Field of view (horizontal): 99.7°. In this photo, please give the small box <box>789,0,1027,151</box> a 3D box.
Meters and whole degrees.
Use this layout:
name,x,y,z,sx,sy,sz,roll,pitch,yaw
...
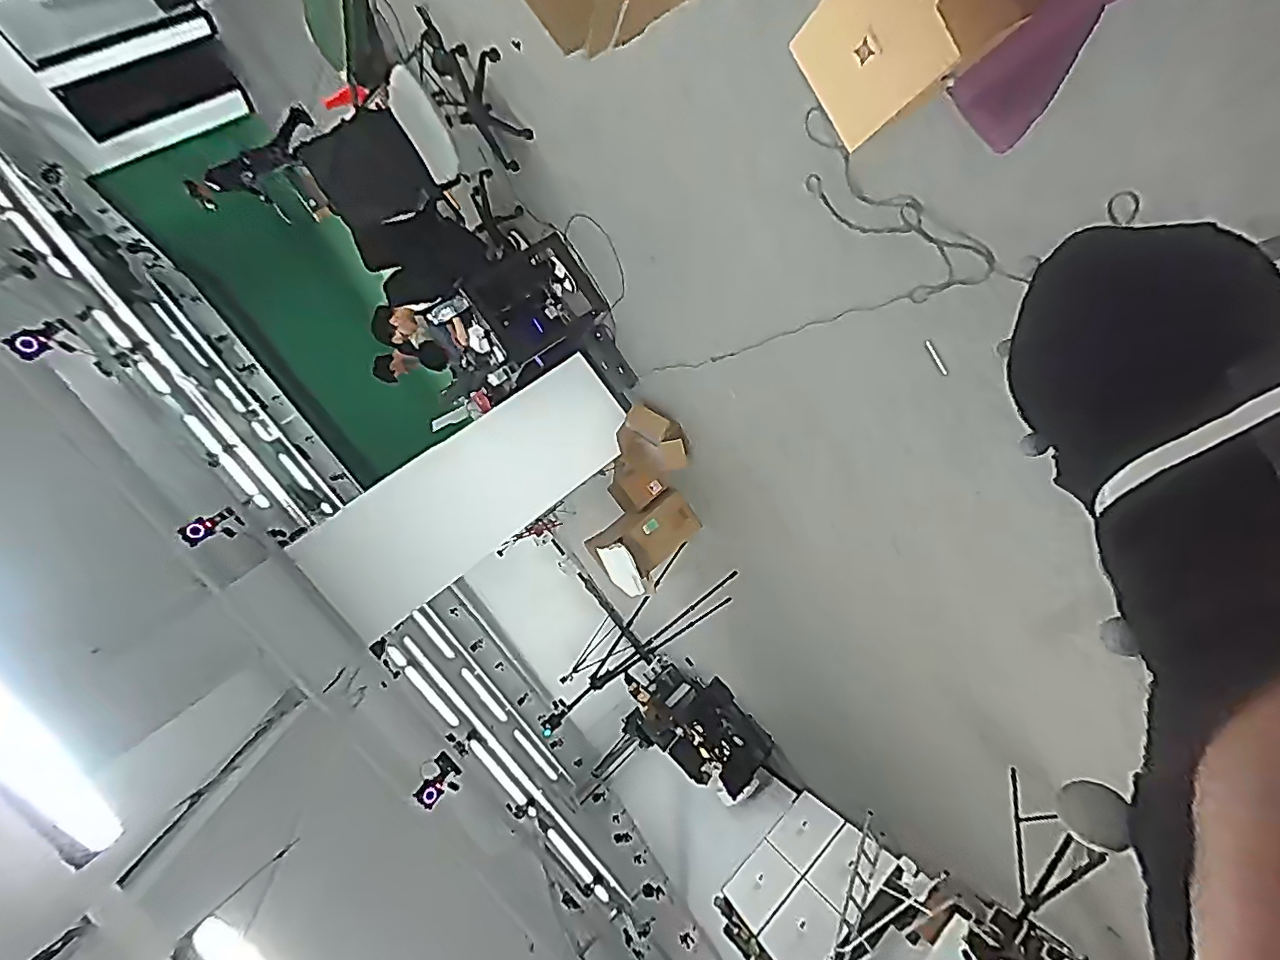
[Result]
name,x,y,z,sx,sy,sz,roll,pitch,yaw
small box,0.333,-0.571,0.681,0.168,0.176,0.179,54,161,-9
